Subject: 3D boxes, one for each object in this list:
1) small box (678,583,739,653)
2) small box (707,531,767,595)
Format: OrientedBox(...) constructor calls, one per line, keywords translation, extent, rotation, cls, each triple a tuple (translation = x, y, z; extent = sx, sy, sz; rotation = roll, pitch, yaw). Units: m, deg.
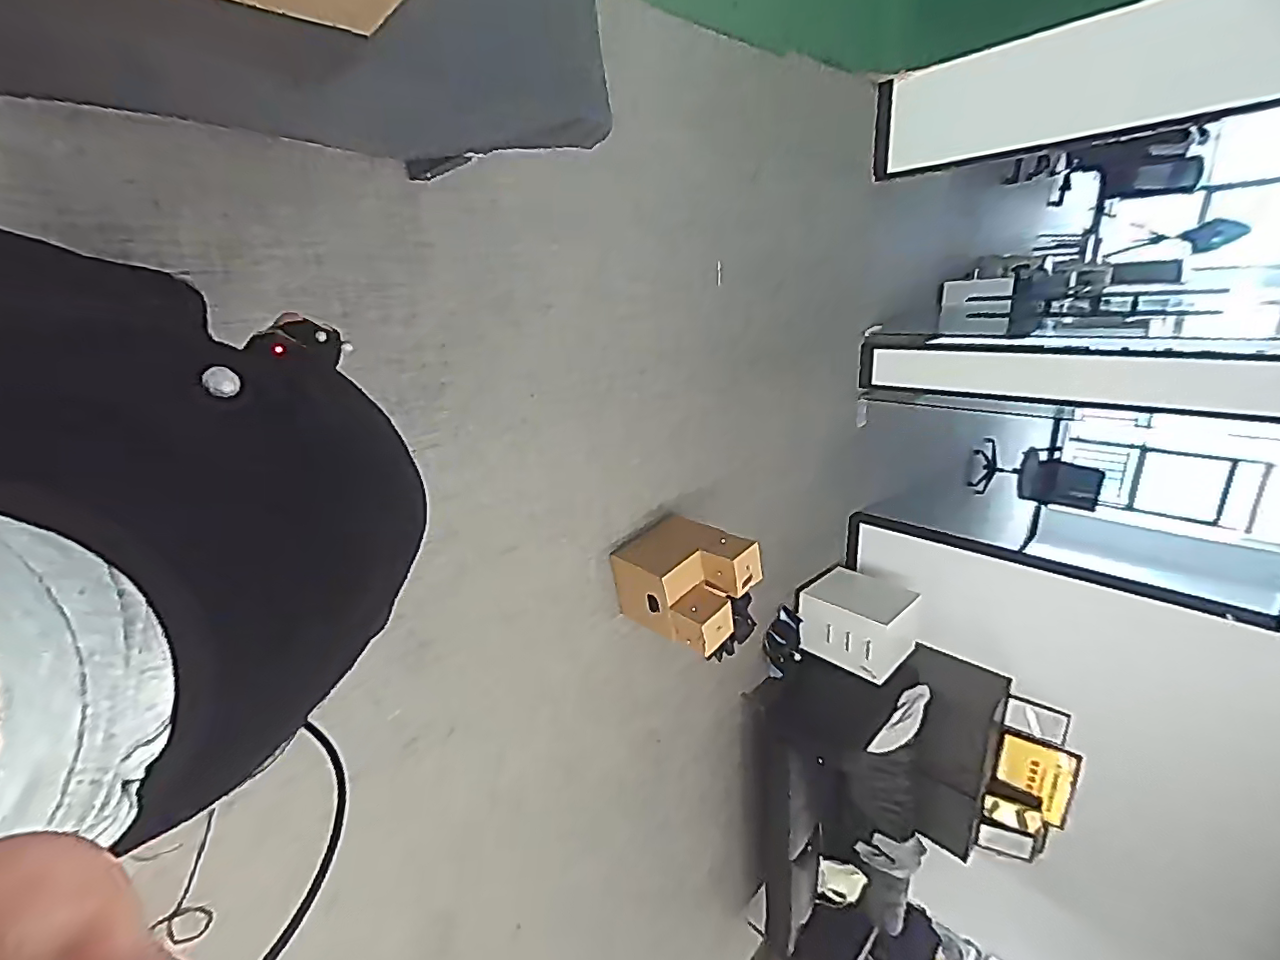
OrientedBox(translation=(0.264, 0.537, 2.120), extent=(0.179, 0.176, 0.168), rotation=(-34, 126, -35), cls="small box")
OrientedBox(translation=(0.390, 0.330, 2.186), extent=(0.168, 0.176, 0.179), rotation=(-28, 117, -37), cls="small box")
